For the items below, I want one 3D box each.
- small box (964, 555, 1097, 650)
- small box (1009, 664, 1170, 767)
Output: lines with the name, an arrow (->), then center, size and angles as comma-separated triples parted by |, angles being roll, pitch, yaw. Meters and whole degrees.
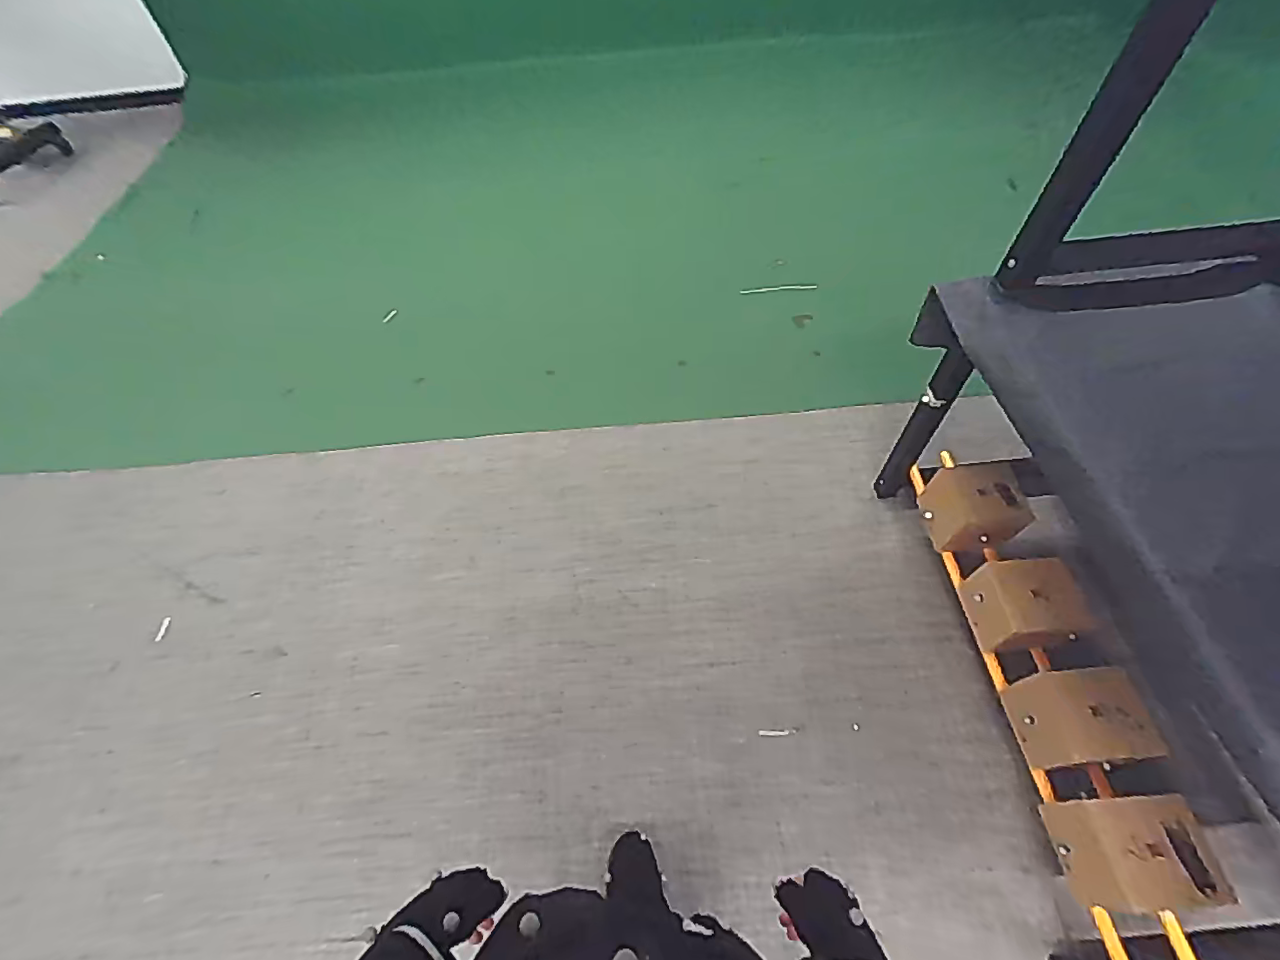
small box -> 0.889, 0.290, 1.260 | 0.179, 0.176, 0.168 | -5, 57, 2
small box -> 0.910, 0.493, 1.123 | 0.179, 0.176, 0.168 | -6, 58, 1
